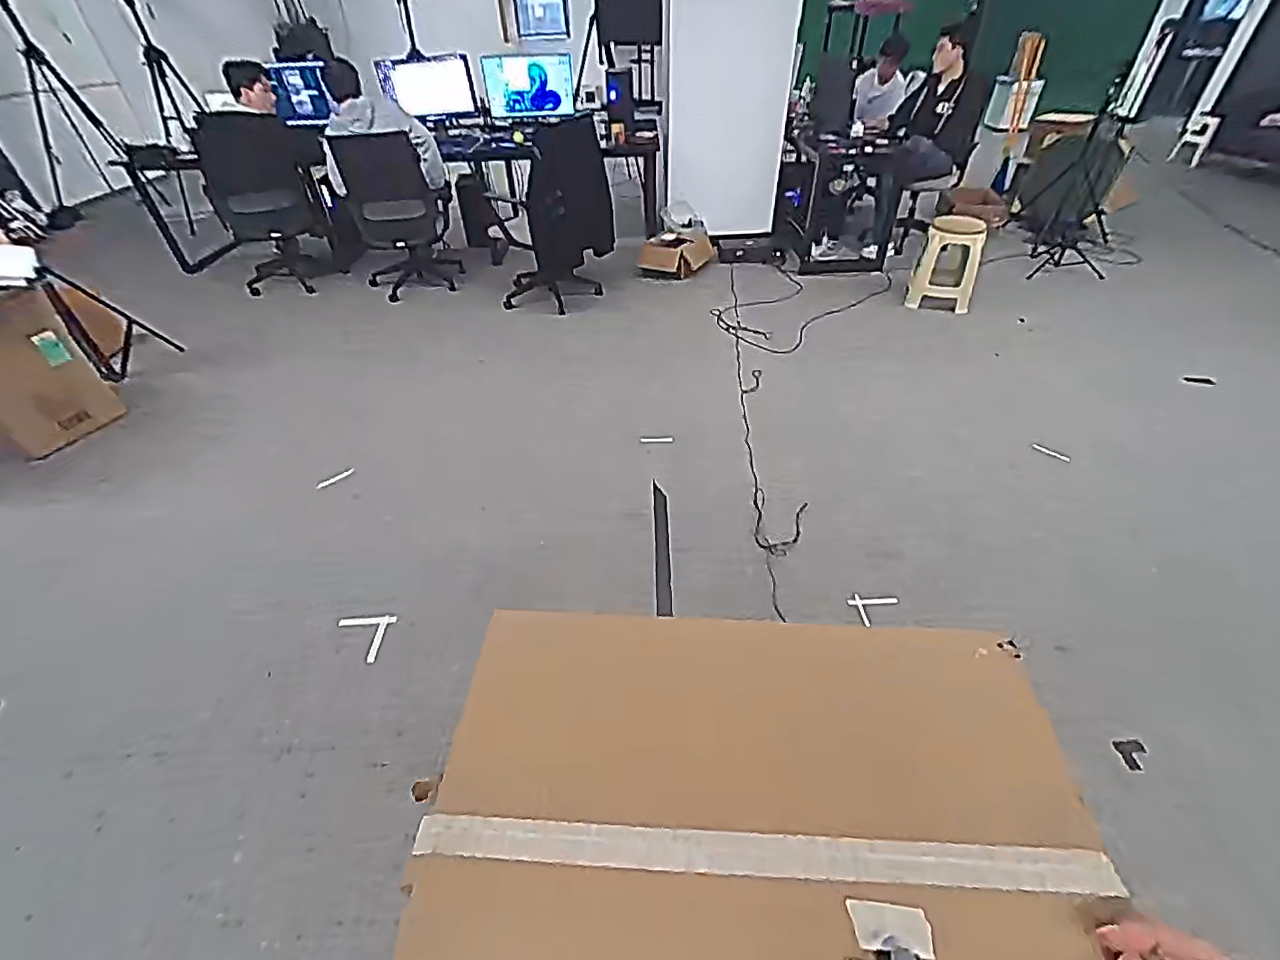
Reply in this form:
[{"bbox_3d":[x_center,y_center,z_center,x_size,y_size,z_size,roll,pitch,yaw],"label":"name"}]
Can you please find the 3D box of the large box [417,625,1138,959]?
[{"bbox_3d":[0.076,0.337,0.435,0.408,0.320,0.320,2,46,2],"label":"large box"}]
